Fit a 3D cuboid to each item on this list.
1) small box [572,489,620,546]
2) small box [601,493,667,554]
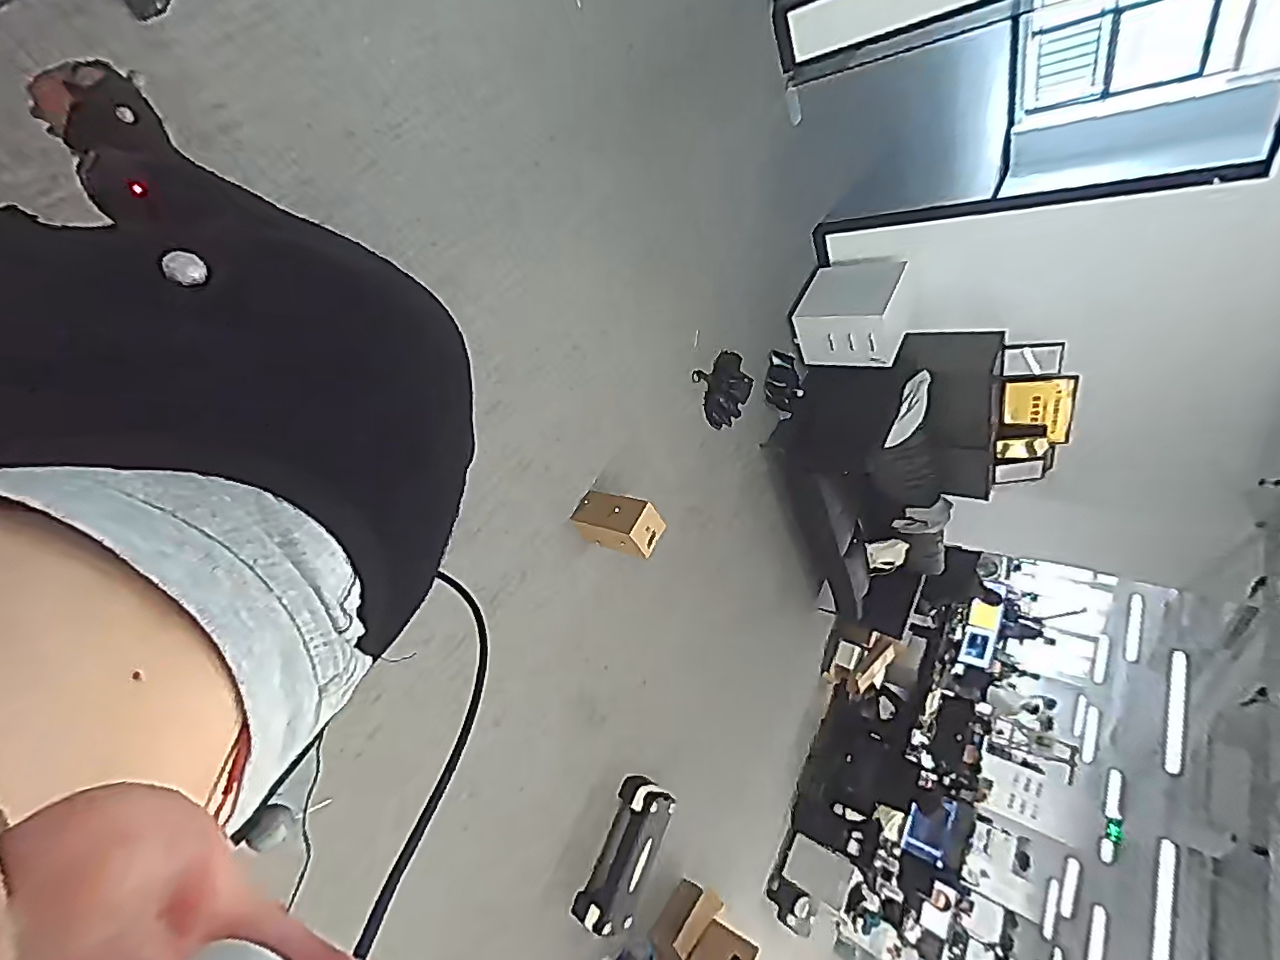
[{"bbox_3d":[-0.151,0.152,2.282,0.168,0.176,0.179,-59,137,-25],"label":"small box"},{"bbox_3d":[-0.025,0.170,2.177,0.168,0.176,0.179,-59,137,-25],"label":"small box"}]
